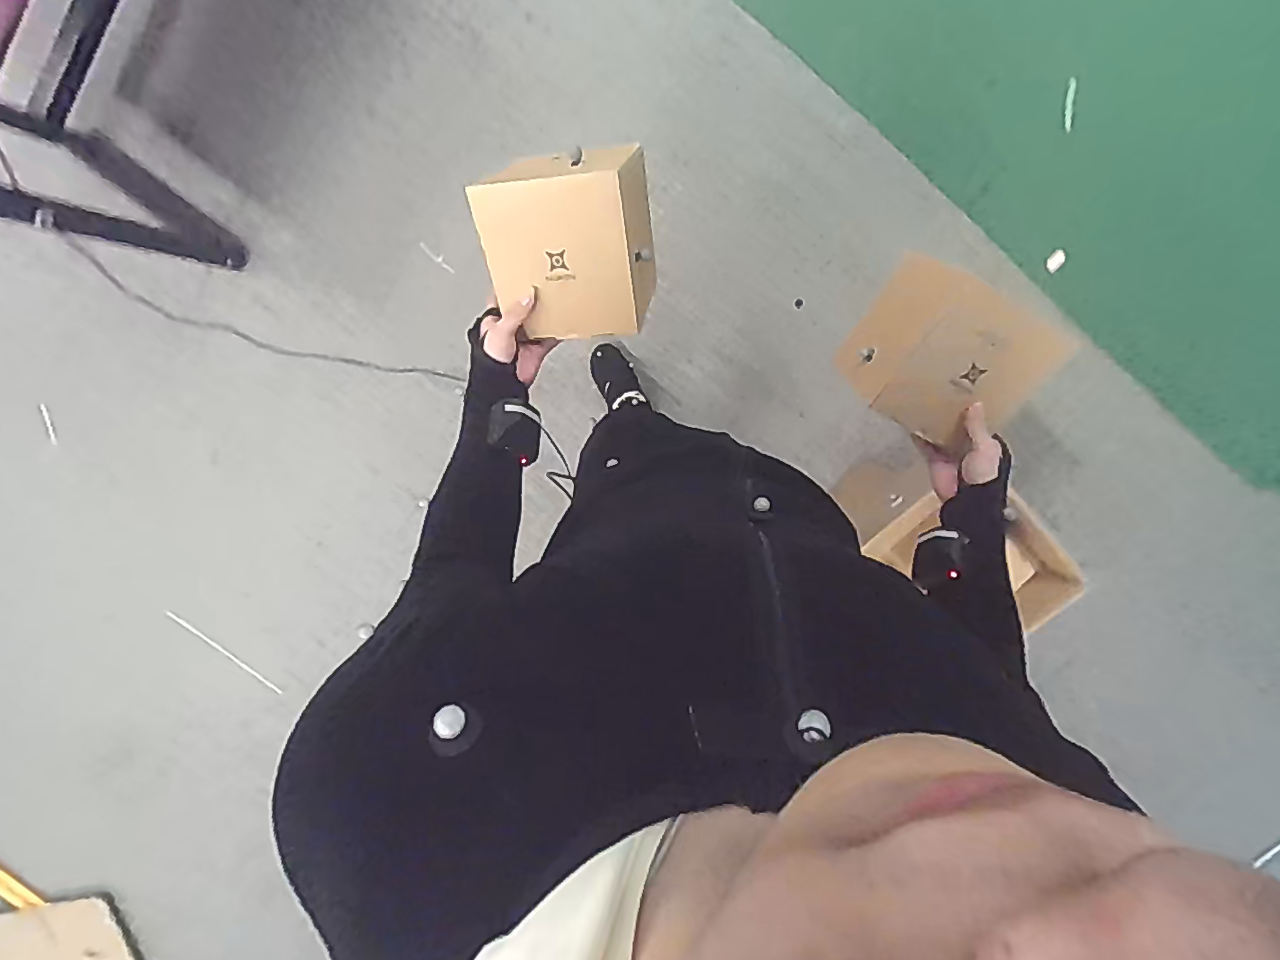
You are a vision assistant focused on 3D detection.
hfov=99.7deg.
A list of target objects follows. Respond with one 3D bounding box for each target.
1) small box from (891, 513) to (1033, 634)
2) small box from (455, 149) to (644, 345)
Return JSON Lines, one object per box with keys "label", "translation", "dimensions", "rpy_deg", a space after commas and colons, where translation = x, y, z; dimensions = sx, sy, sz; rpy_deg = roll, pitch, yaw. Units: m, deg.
{"label": "small box", "translation": [0.704, 0.199, 1.206], "dimensions": [0.168, 0.176, 0.179], "rpy_deg": [44, 100, -6]}
{"label": "small box", "translation": [-0.092, -0.282, 0.649], "dimensions": [0.168, 0.176, 0.179], "rpy_deg": [-1, 130, 10]}
